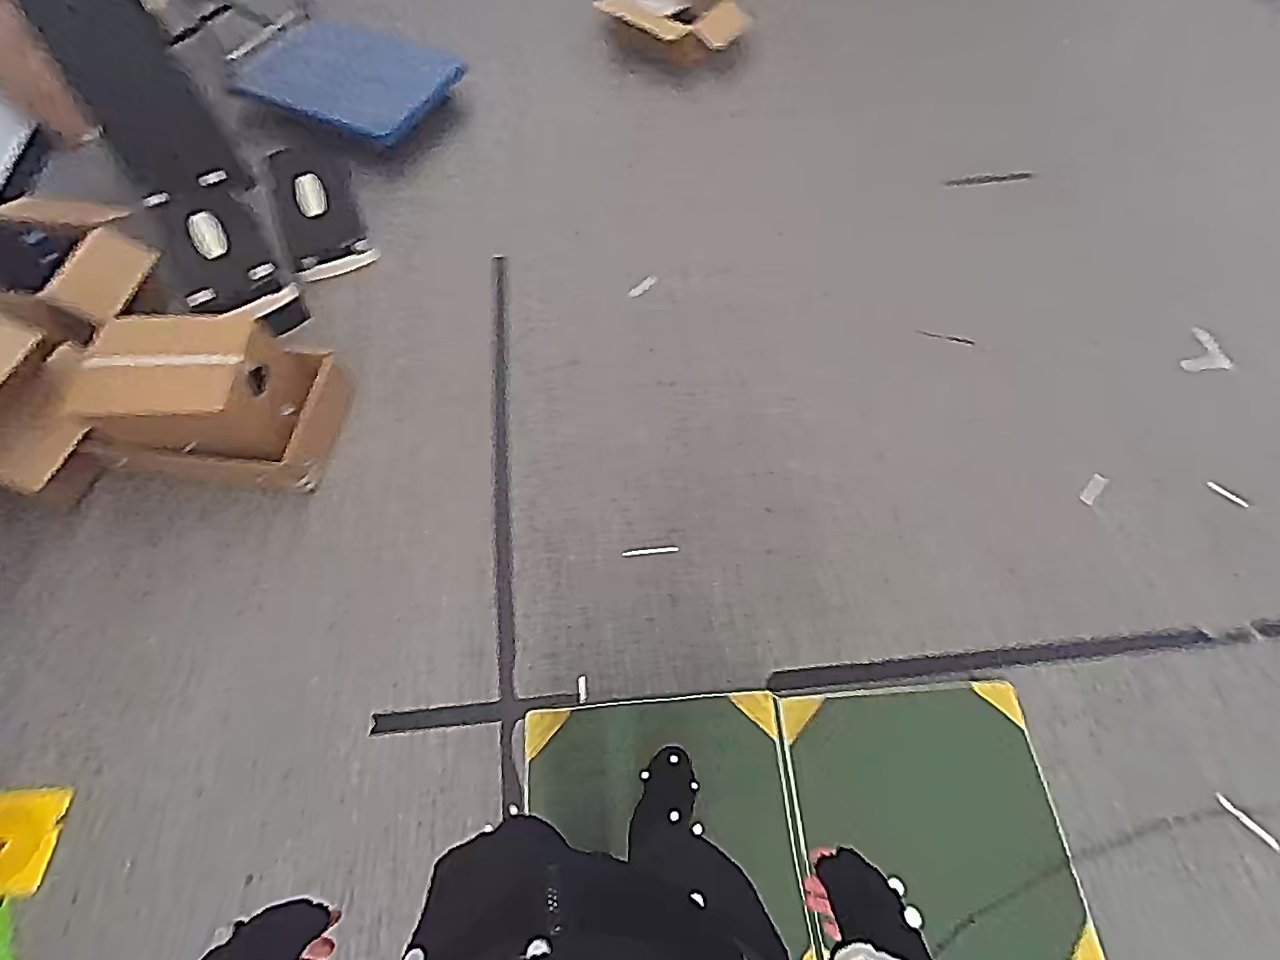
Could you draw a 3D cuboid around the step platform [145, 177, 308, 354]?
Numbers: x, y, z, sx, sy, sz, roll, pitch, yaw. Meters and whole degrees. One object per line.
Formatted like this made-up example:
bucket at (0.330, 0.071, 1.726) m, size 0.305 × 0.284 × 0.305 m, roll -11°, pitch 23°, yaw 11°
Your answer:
step platform at (-1.461, -0.773, 1.906) m, size 0.286 × 0.204 × 0.684 m, roll -33°, pitch 70°, yaw -14°
